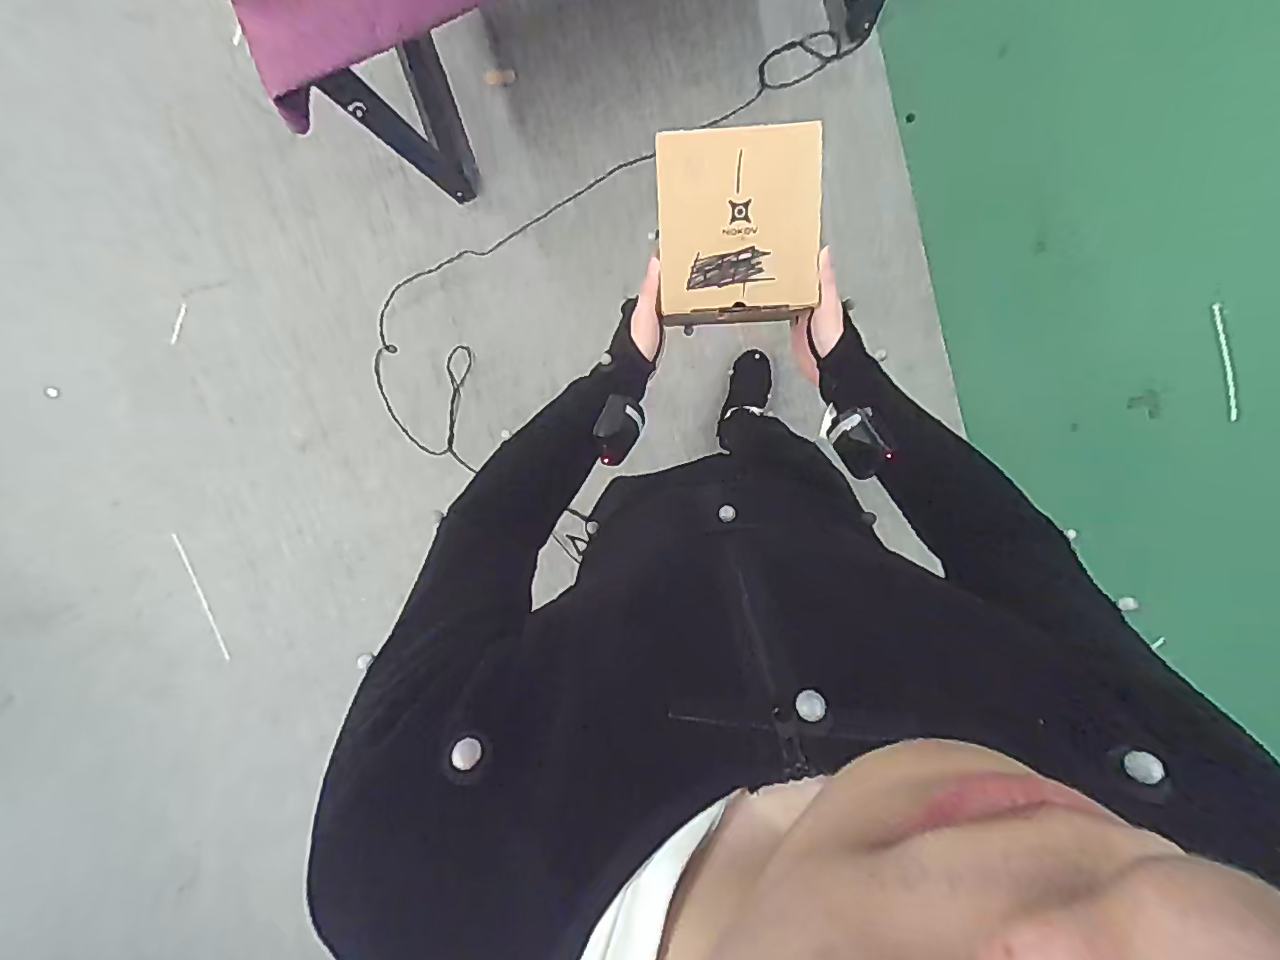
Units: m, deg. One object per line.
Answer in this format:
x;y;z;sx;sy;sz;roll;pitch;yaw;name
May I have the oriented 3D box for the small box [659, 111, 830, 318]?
0.109;-0.283;0.618;0.168;0.176;0.179;-3;101;3;small box
